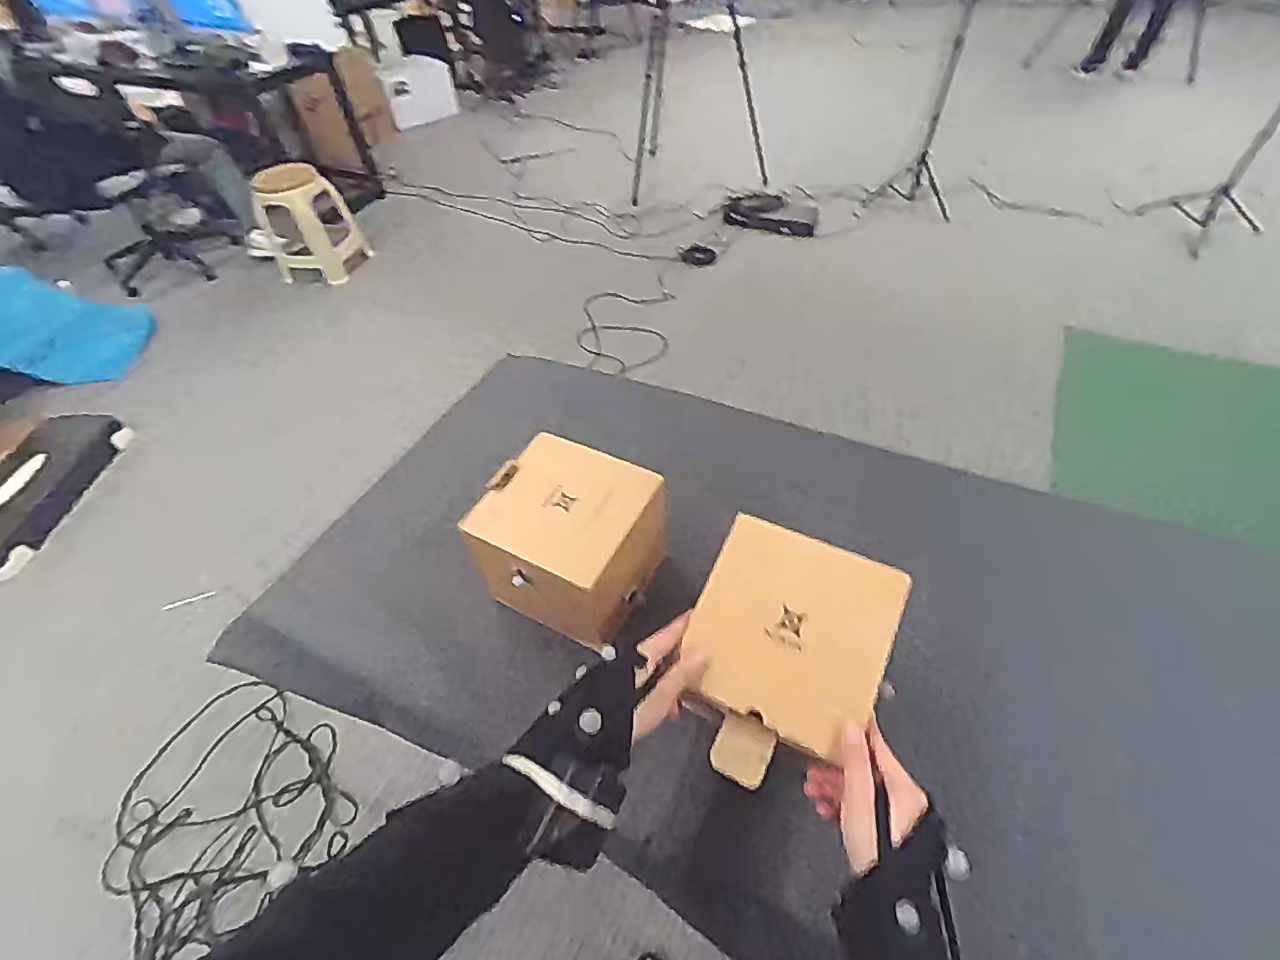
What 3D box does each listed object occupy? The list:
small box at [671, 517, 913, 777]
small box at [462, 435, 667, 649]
[{"bbox_3d":[0.146,0.170,0.544,0.168,0.176,0.179,21,67,20],"label":"small box"},{"bbox_3d":[-0.079,0.079,0.664,0.179,0.176,0.168,22,54,20],"label":"small box"}]
